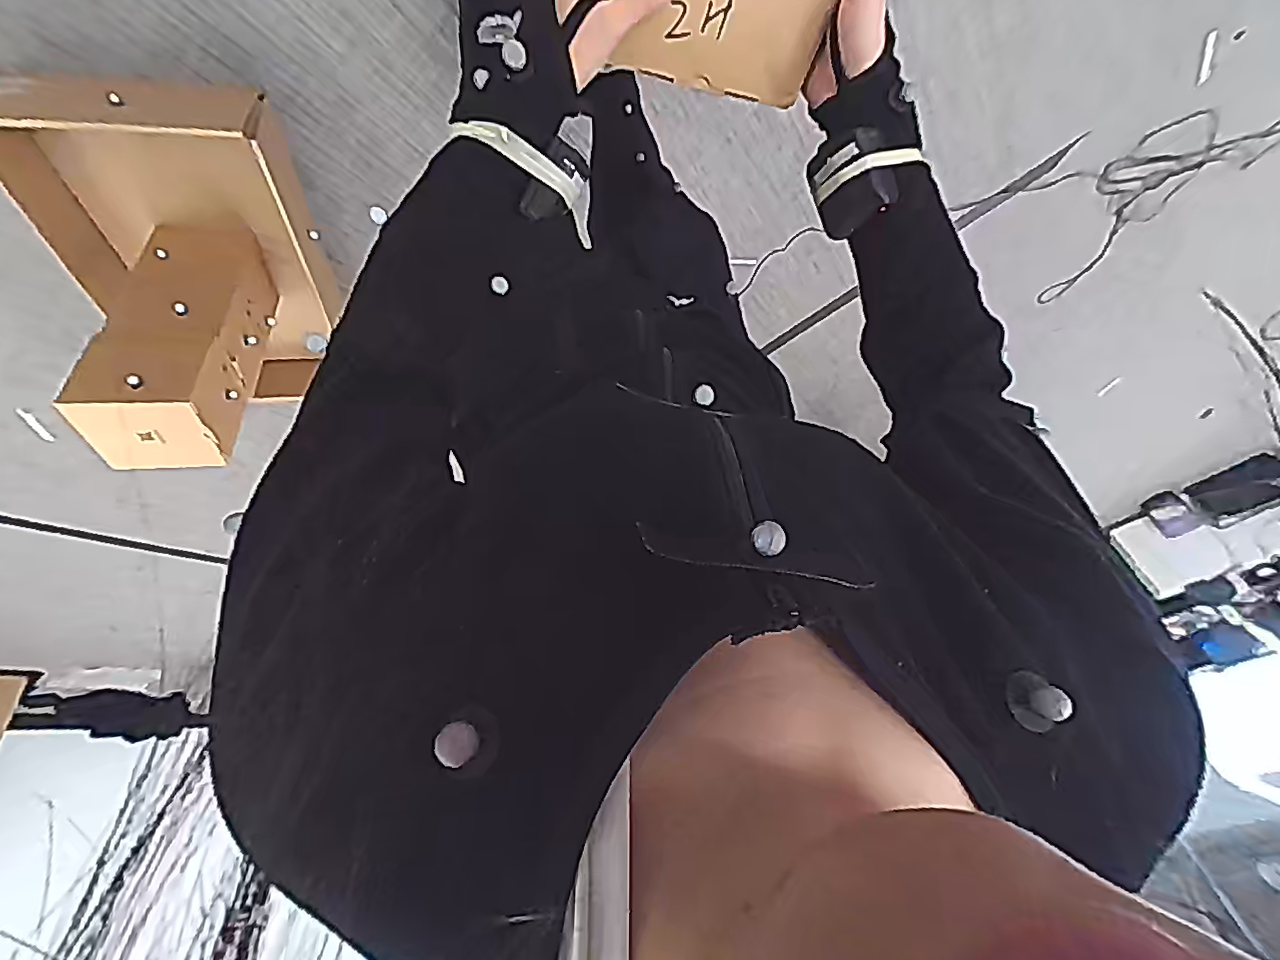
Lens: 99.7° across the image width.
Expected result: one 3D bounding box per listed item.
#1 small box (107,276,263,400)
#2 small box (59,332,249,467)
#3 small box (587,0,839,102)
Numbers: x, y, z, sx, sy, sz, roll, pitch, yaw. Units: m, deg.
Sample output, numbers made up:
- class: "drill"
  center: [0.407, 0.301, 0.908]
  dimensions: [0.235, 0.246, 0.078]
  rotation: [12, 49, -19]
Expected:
- class: "small box"
  center: [-0.849, -0.269, 1.035]
  dimensions: [0.179, 0.176, 0.168]
  rotation: [-4, 145, -18]
- class: "small box"
  center: [-0.820, -0.141, 0.938]
  dimensions: [0.179, 0.176, 0.168]
  rotation: [-4, 145, -16]
- class: "small box"
  center: [0.054, -0.422, 0.391]
  dimensions: [0.168, 0.176, 0.179]
  rotation: [-1, 145, -20]
